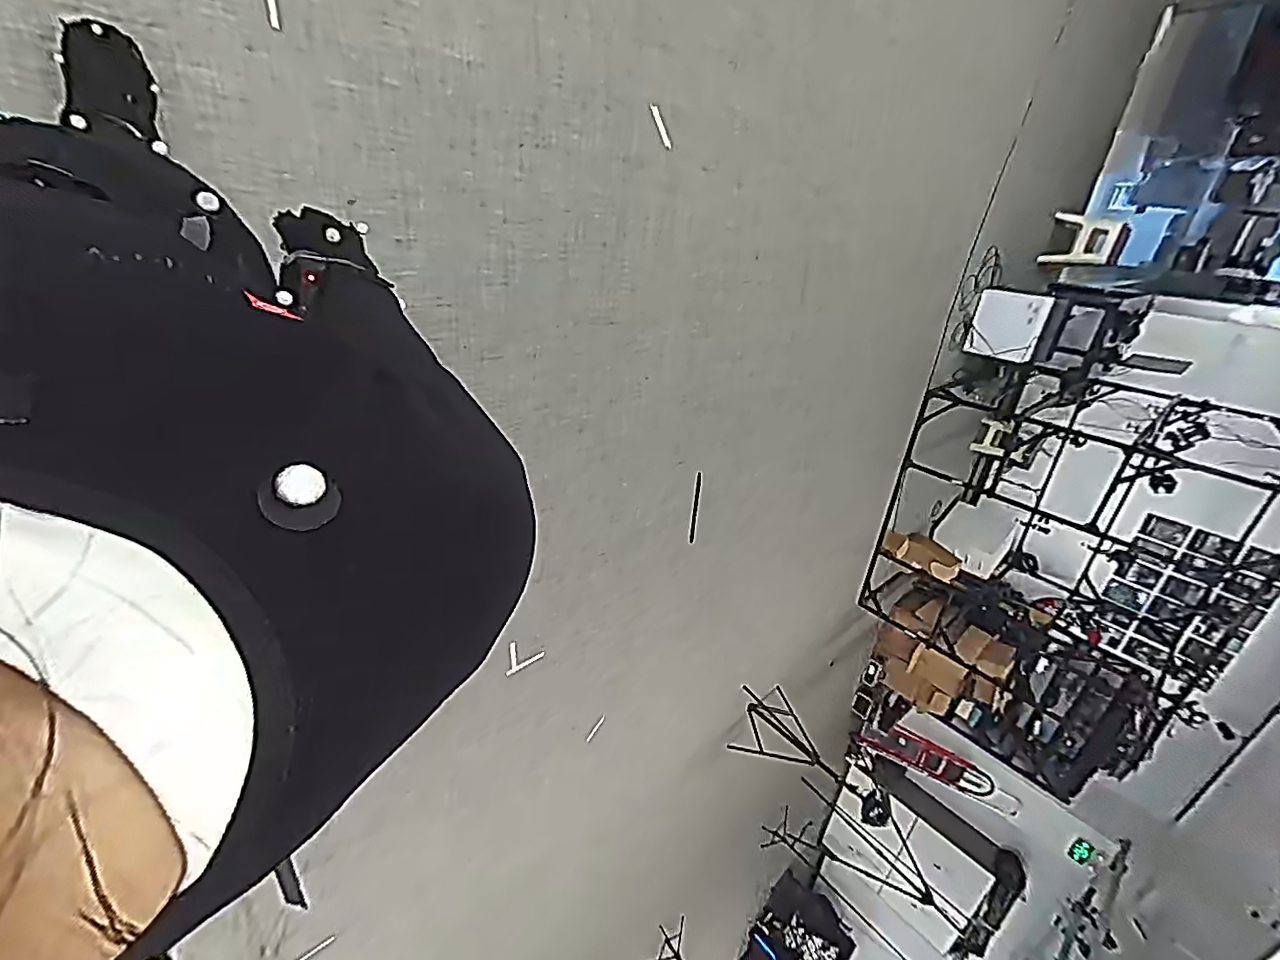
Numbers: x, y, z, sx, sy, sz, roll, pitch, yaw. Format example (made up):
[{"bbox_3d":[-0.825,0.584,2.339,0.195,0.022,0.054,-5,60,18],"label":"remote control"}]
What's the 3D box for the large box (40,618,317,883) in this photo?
[{"bbox_3d":[-1.059,0.600,1.273,0.408,0.320,0.320,-22,128,-38],"label":"large box"}]
